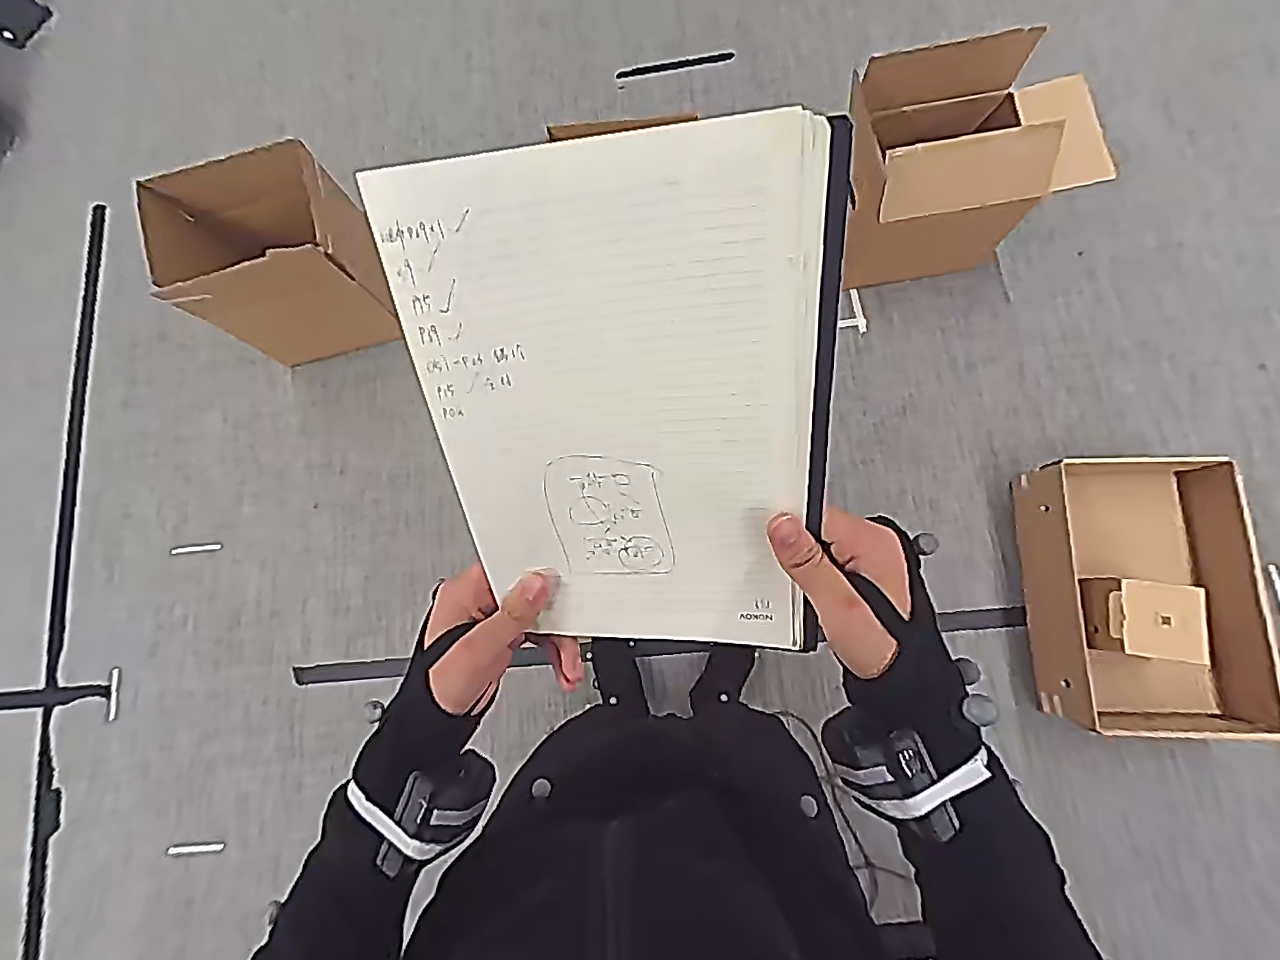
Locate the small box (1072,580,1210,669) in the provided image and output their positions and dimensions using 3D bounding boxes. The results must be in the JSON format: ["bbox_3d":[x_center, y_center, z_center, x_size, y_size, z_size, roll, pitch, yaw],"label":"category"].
[{"bbox_3d":[1.141,0.328,1.248,0.179,0.176,0.168,8,80,6],"label":"small box"}]
